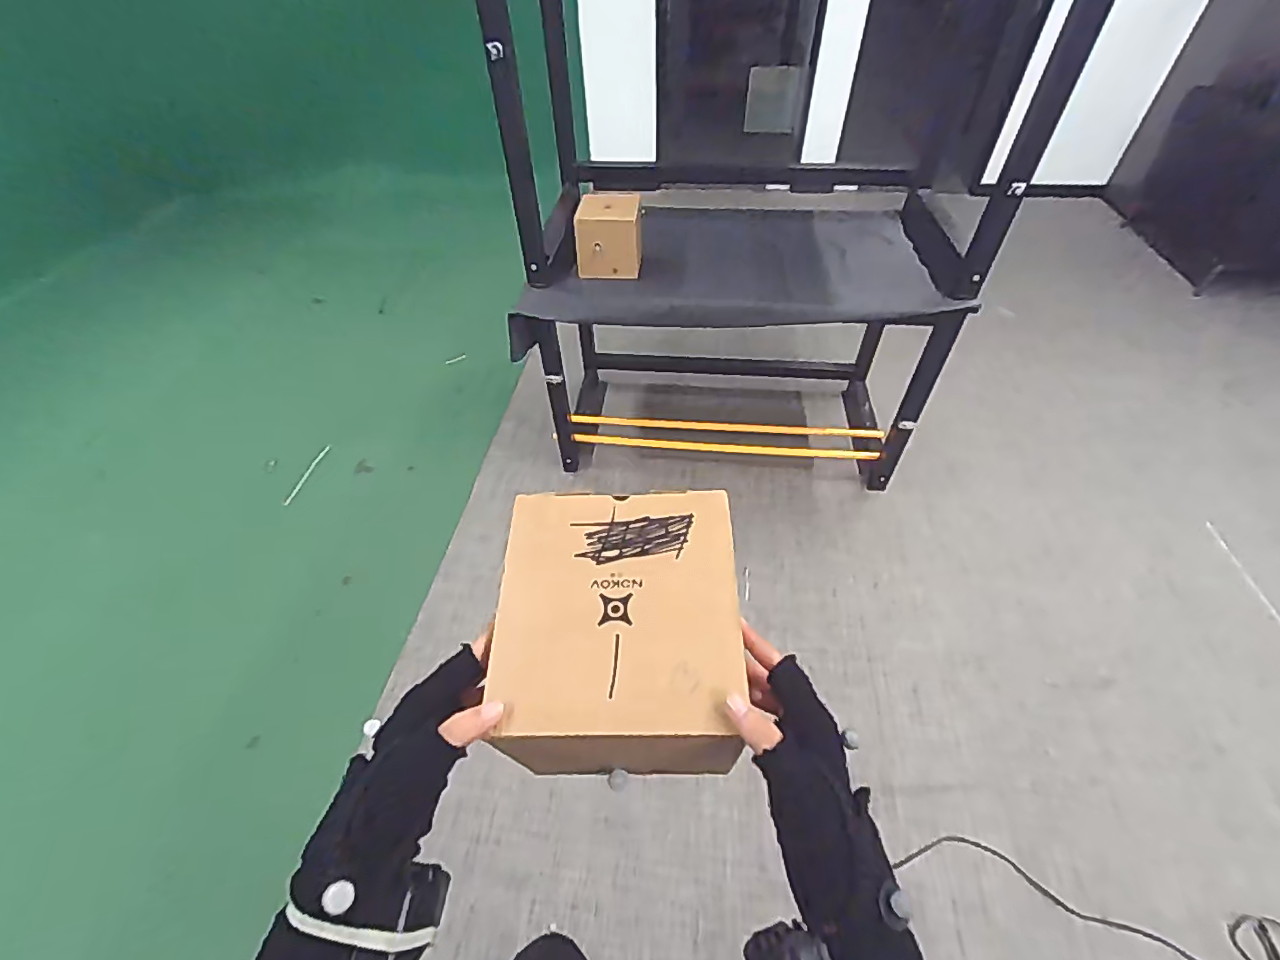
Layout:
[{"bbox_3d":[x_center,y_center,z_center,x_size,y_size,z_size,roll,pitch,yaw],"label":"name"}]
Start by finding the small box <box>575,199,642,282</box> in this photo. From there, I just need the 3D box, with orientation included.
[{"bbox_3d":[-0.082,-0.676,1.528,0.168,0.176,0.179,3,47,4],"label":"small box"}]
